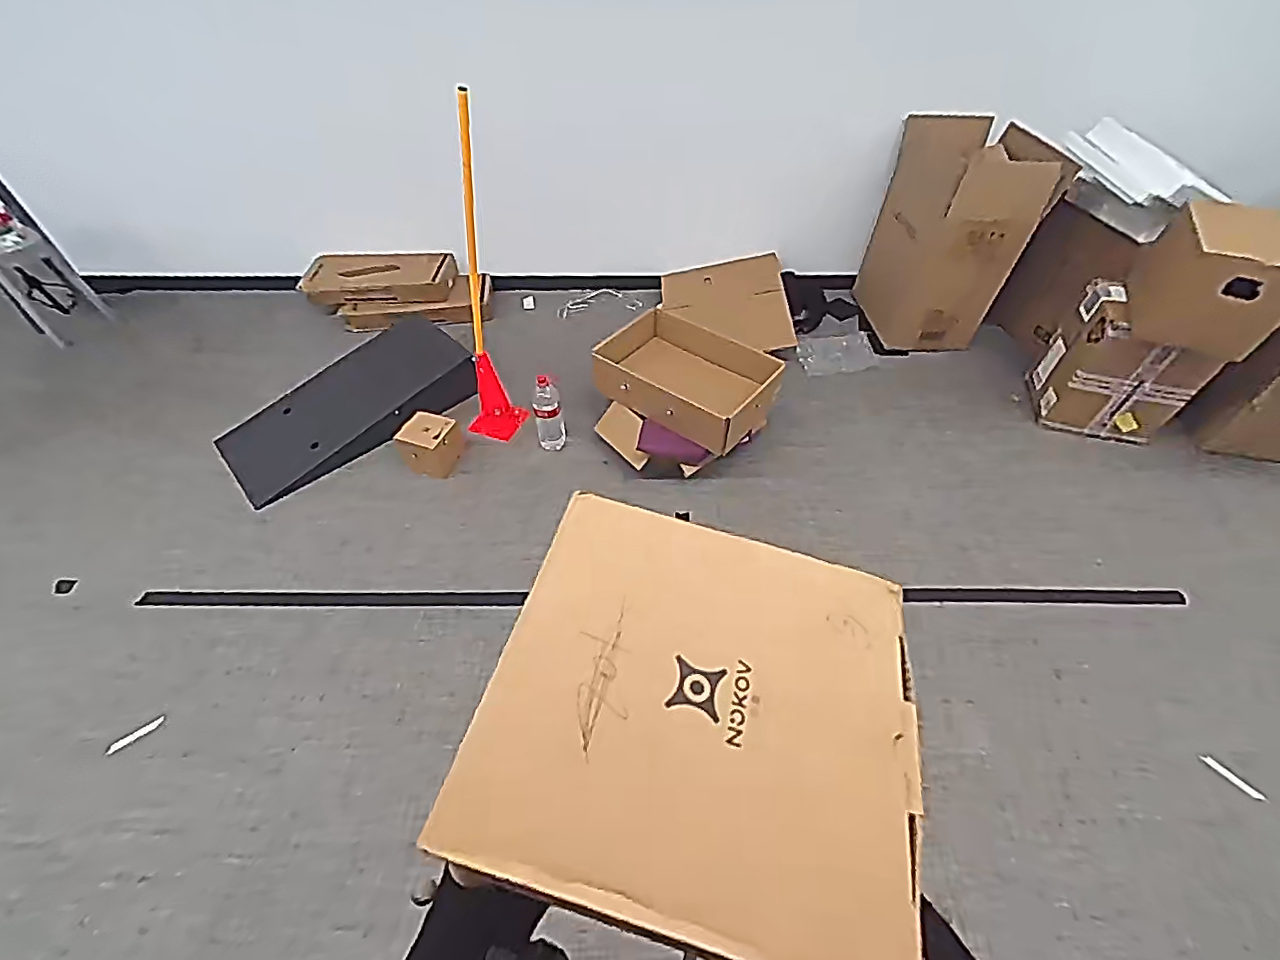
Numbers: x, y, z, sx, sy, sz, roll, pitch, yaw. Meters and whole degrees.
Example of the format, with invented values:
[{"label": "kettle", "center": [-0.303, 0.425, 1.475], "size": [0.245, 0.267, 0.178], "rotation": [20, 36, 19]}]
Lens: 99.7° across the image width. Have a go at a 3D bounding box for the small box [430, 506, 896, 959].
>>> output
[{"label": "small box", "center": [0.018, 0.145, 0.303], "size": [0.179, 0.176, 0.168], "rotation": [15, 50, 5]}]
